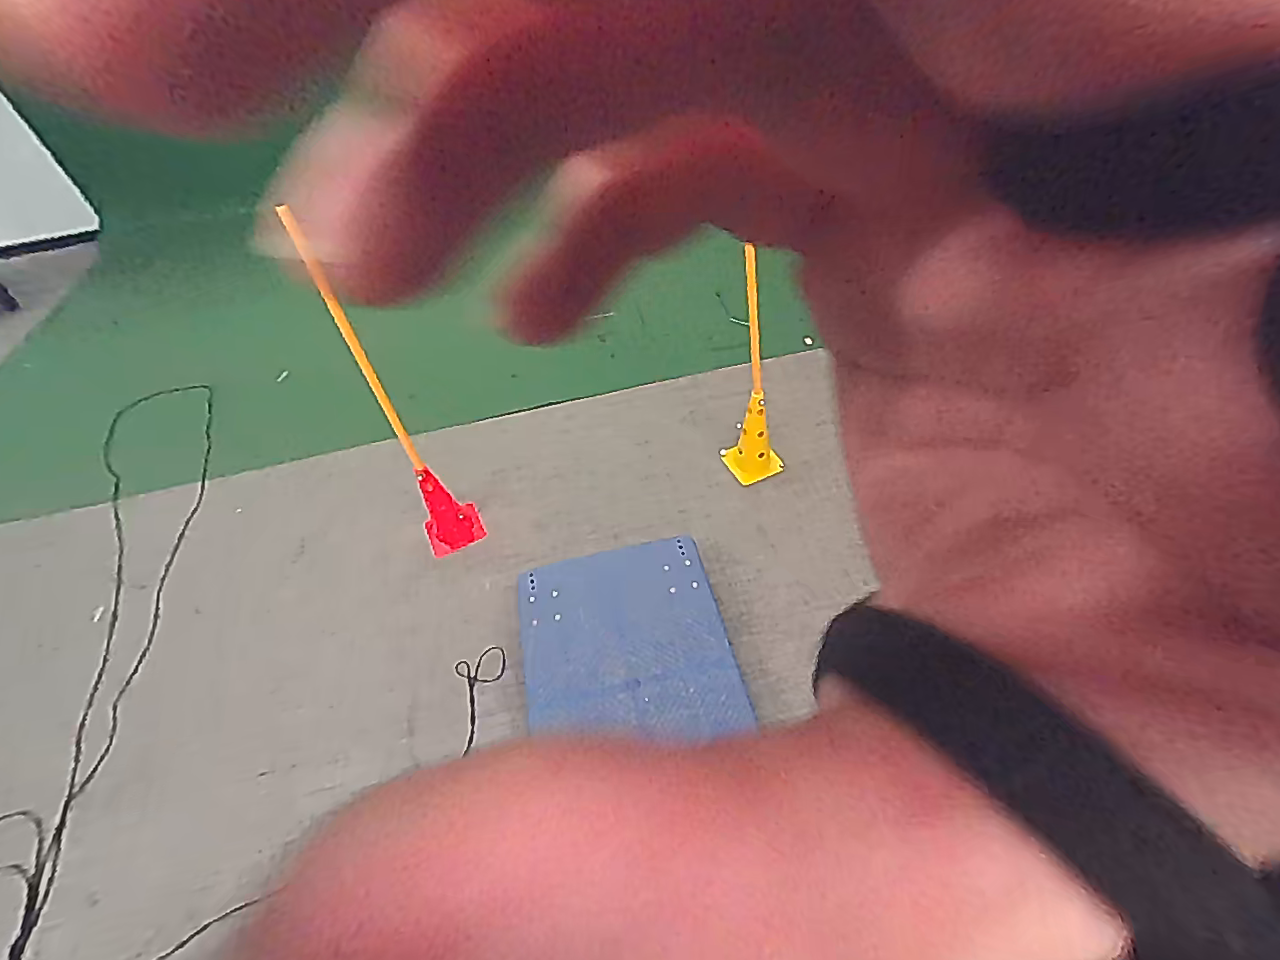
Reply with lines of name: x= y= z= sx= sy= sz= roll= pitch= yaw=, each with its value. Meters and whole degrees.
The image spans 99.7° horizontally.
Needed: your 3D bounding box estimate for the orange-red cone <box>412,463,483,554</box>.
orange-red cone: x=-0.723 y=0.072 z=1.923 sx=0.199 sy=0.360 sz=0.198 roll=-25 pitch=51 yaw=-13
